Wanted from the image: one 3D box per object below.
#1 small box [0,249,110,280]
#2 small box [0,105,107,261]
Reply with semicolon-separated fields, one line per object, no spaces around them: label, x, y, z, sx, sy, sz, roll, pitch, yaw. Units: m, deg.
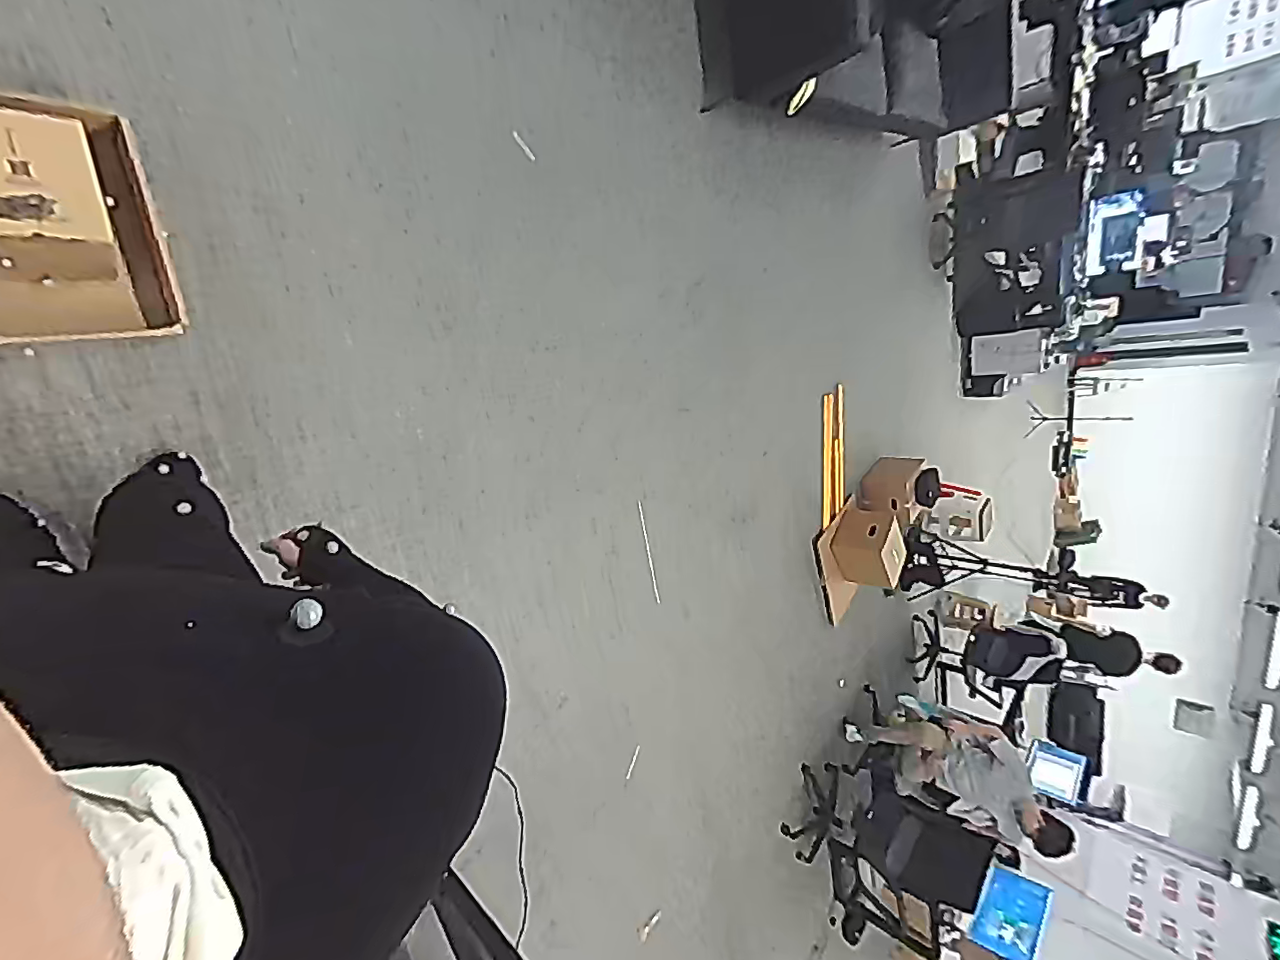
small box;-1.063;-0.457;0.941;0.168;0.176;0.179;-19;108;-42
small box;-0.948;-0.444;0.825;0.168;0.176;0.179;-16;104;-42
